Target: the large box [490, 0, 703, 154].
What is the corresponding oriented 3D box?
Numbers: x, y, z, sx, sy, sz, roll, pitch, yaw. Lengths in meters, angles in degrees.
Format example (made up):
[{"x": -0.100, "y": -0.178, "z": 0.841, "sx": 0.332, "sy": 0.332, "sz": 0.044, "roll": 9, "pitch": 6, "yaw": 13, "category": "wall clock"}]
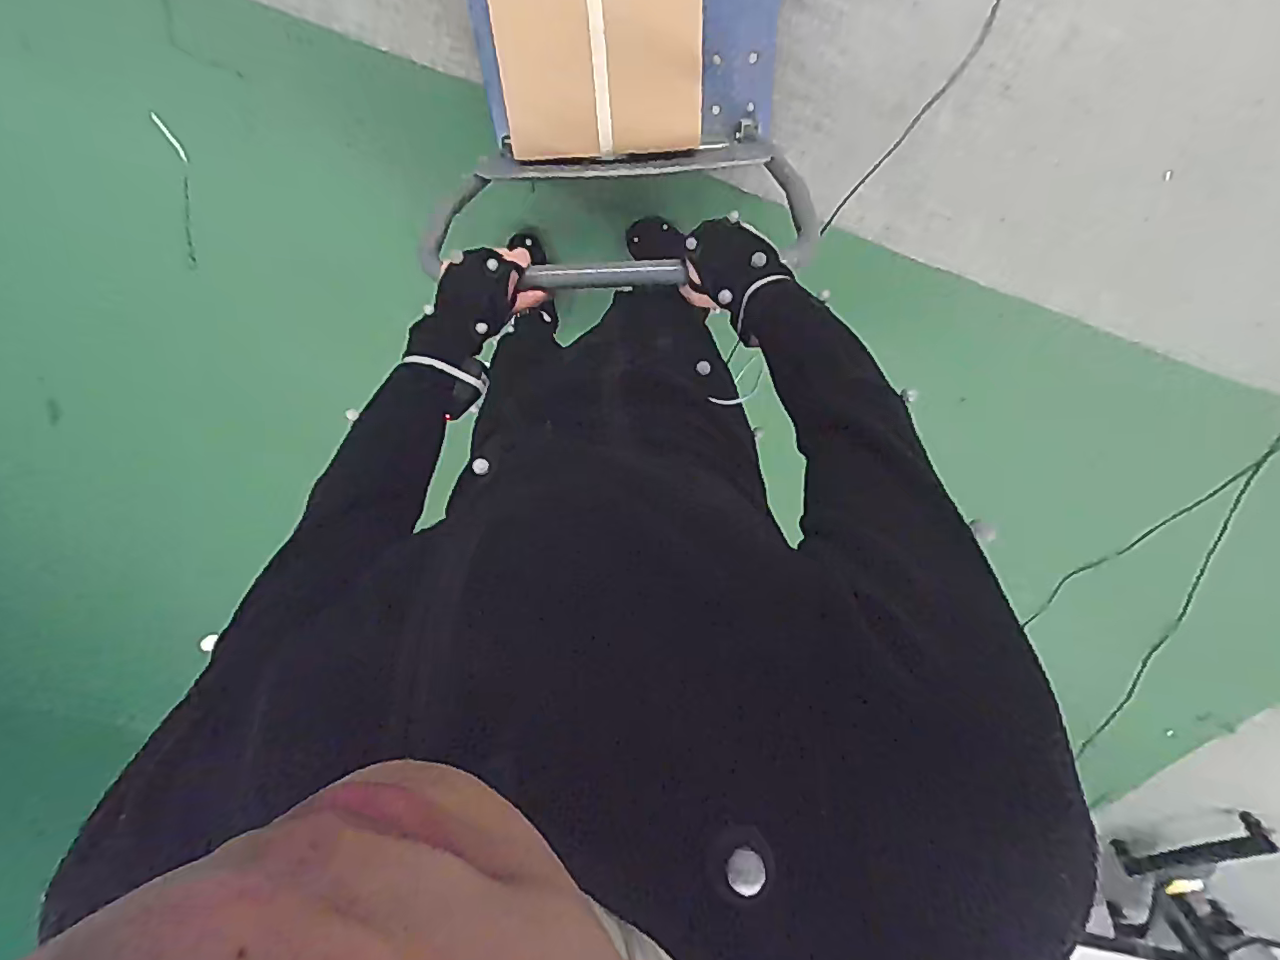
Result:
[{"x": -0.060, "y": -0.796, "z": 0.898, "sx": 0.320, "sy": 0.320, "sz": 0.408, "roll": -2, "pitch": 126, "yaw": 3, "category": "large box"}]
